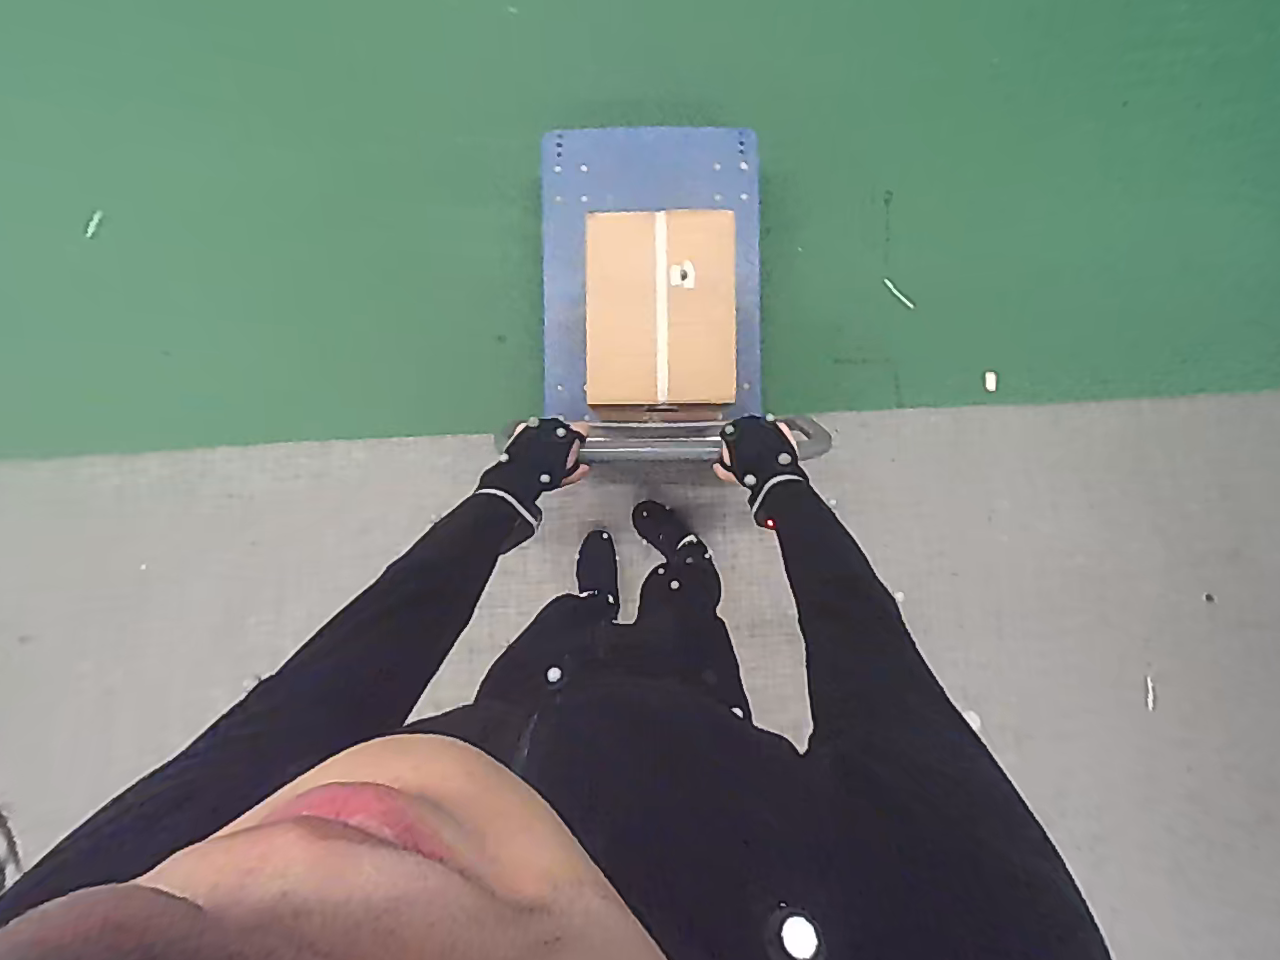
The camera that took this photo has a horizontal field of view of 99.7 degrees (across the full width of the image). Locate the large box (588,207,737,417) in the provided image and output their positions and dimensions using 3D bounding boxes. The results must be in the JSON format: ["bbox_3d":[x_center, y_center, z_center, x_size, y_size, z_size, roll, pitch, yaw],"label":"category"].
[{"bbox_3d":[0.050,-0.367,1.273,0.320,0.320,0.408,1,90,0],"label":"large box"}]
